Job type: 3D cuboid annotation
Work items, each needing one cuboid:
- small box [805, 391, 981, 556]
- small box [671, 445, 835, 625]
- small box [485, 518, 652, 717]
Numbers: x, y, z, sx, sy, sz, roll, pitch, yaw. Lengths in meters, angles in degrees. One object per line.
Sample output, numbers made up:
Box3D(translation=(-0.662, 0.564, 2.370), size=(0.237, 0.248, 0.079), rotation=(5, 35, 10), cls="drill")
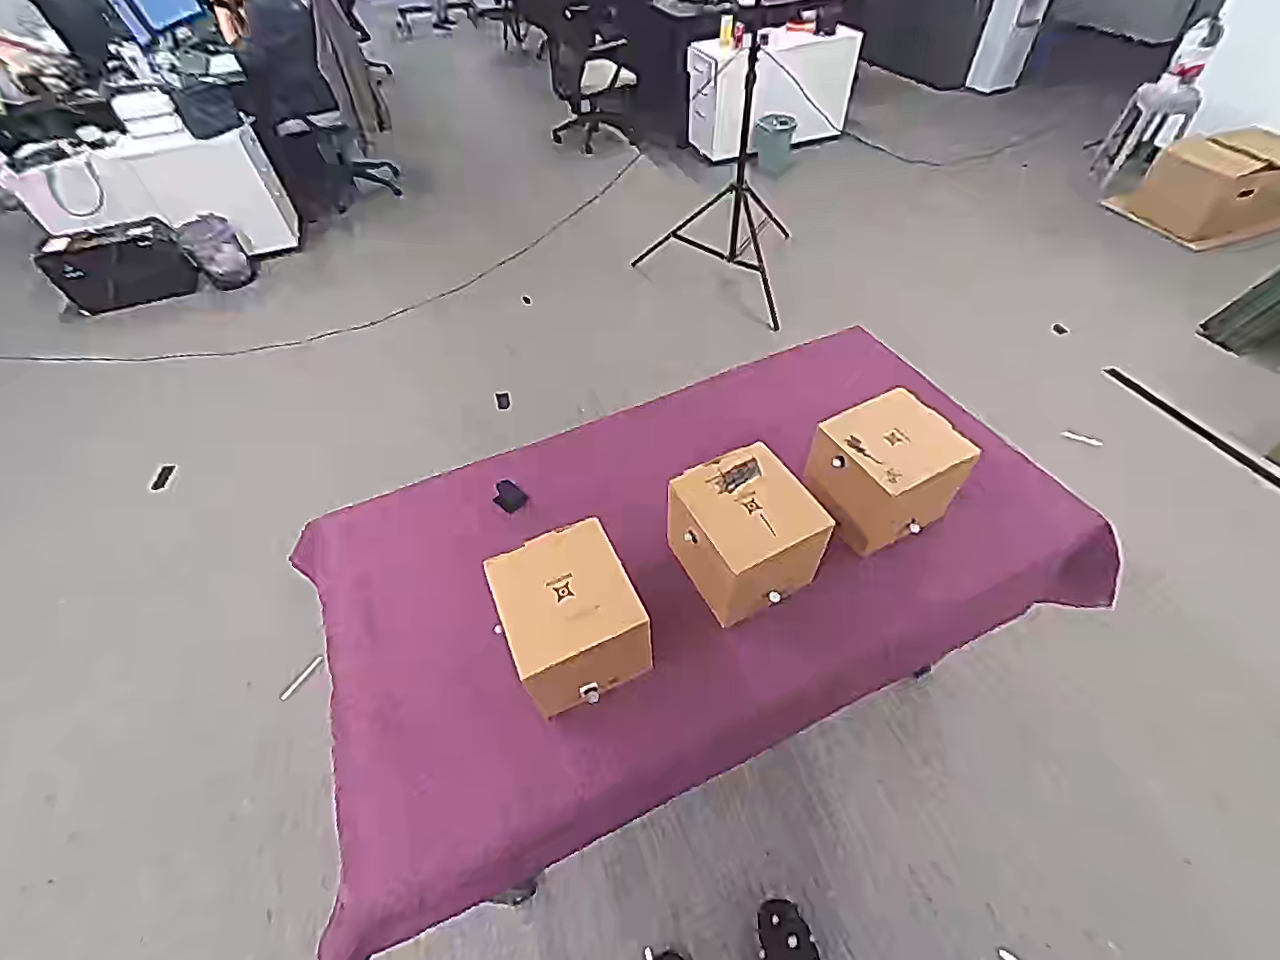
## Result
Box3D(translation=(0.393, -0.009, 0.878), size=(0.179, 0.176, 0.168), rotation=(-23, 52, -15), cls="small box")
Box3D(translation=(0.155, 0.084, 0.814), size=(0.168, 0.176, 0.179), rotation=(-23, 53, -15), cls="small box")
Box3D(translation=(-0.093, 0.190, 0.741), size=(0.168, 0.176, 0.179), rotation=(-22, 53, -13), cls="small box")
